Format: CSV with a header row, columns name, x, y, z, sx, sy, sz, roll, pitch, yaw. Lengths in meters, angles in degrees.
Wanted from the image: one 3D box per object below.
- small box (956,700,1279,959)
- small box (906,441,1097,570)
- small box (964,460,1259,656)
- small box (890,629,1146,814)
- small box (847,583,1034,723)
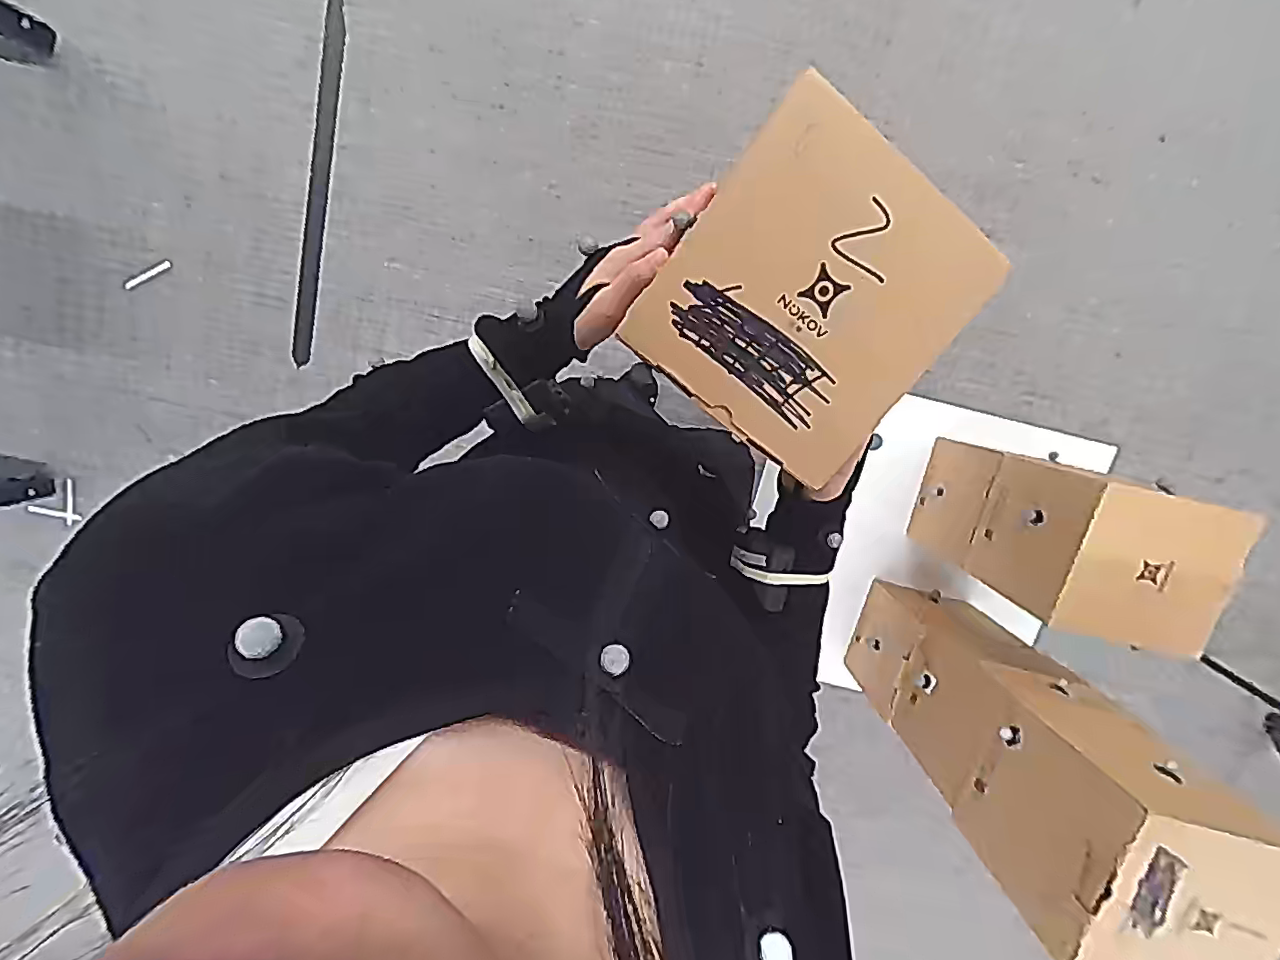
name,x,y,z,sx,sy,sz,roll,pitch,yaw
small box,0.458,0.346,0.531,0.179,0.176,0.168,16,100,-4
small box,0.537,0.044,0.802,0.179,0.176,0.168,12,102,-2
small box,0.532,0.079,0.643,0.179,0.176,0.168,12,102,-3
small box,0.461,0.314,0.692,0.179,0.176,0.168,15,100,-2
small box,0.453,0.279,0.851,0.179,0.176,0.168,15,102,-1
